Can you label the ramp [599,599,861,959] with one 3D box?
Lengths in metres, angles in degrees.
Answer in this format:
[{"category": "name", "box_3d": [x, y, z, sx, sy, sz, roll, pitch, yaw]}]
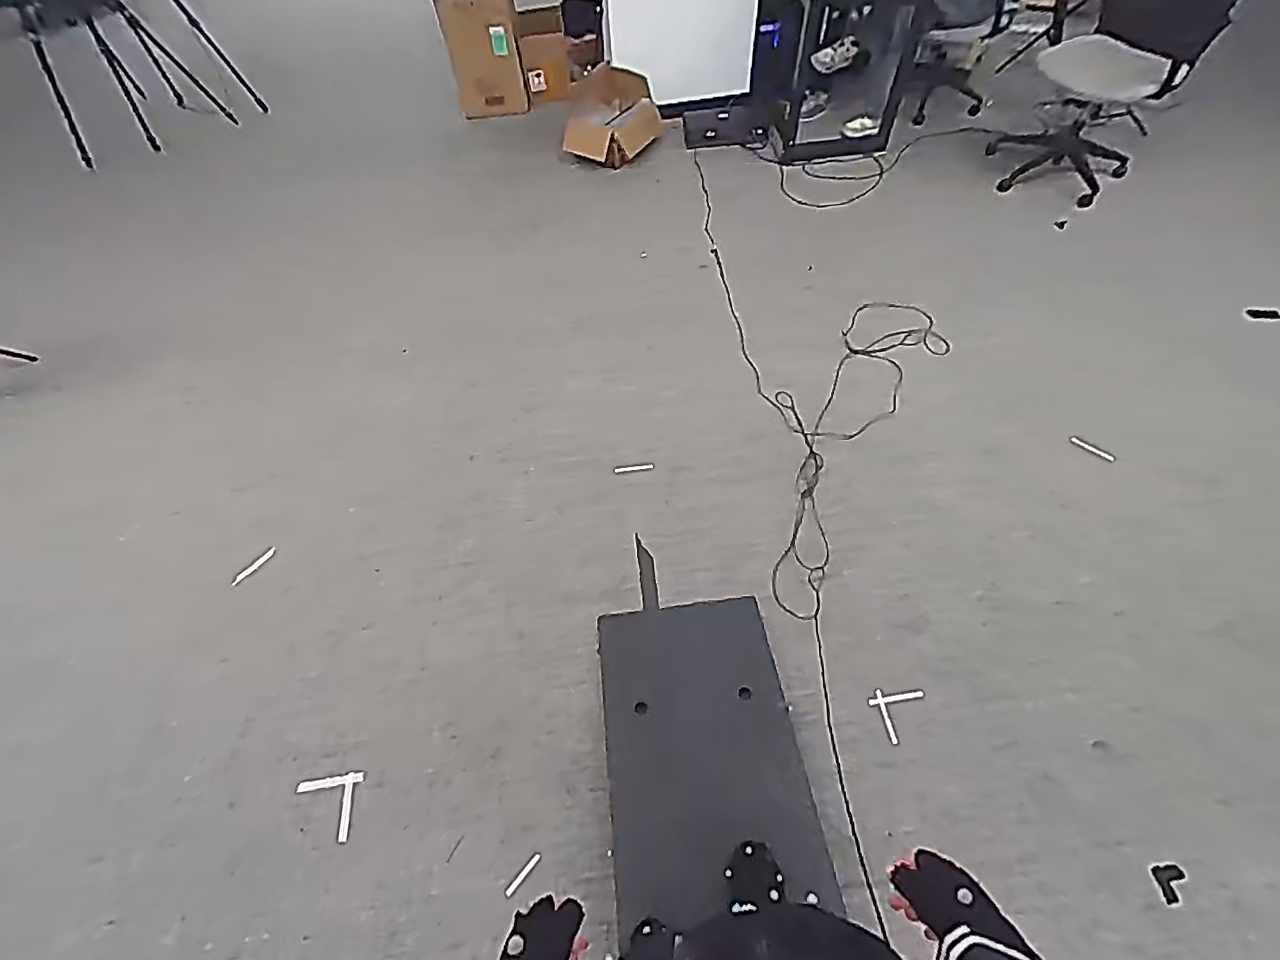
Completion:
[{"category": "ramp", "box_3d": [0.167, 0.761, 1.324, 0.509, 0.206, 0.991, -10, 57, -1]}]
